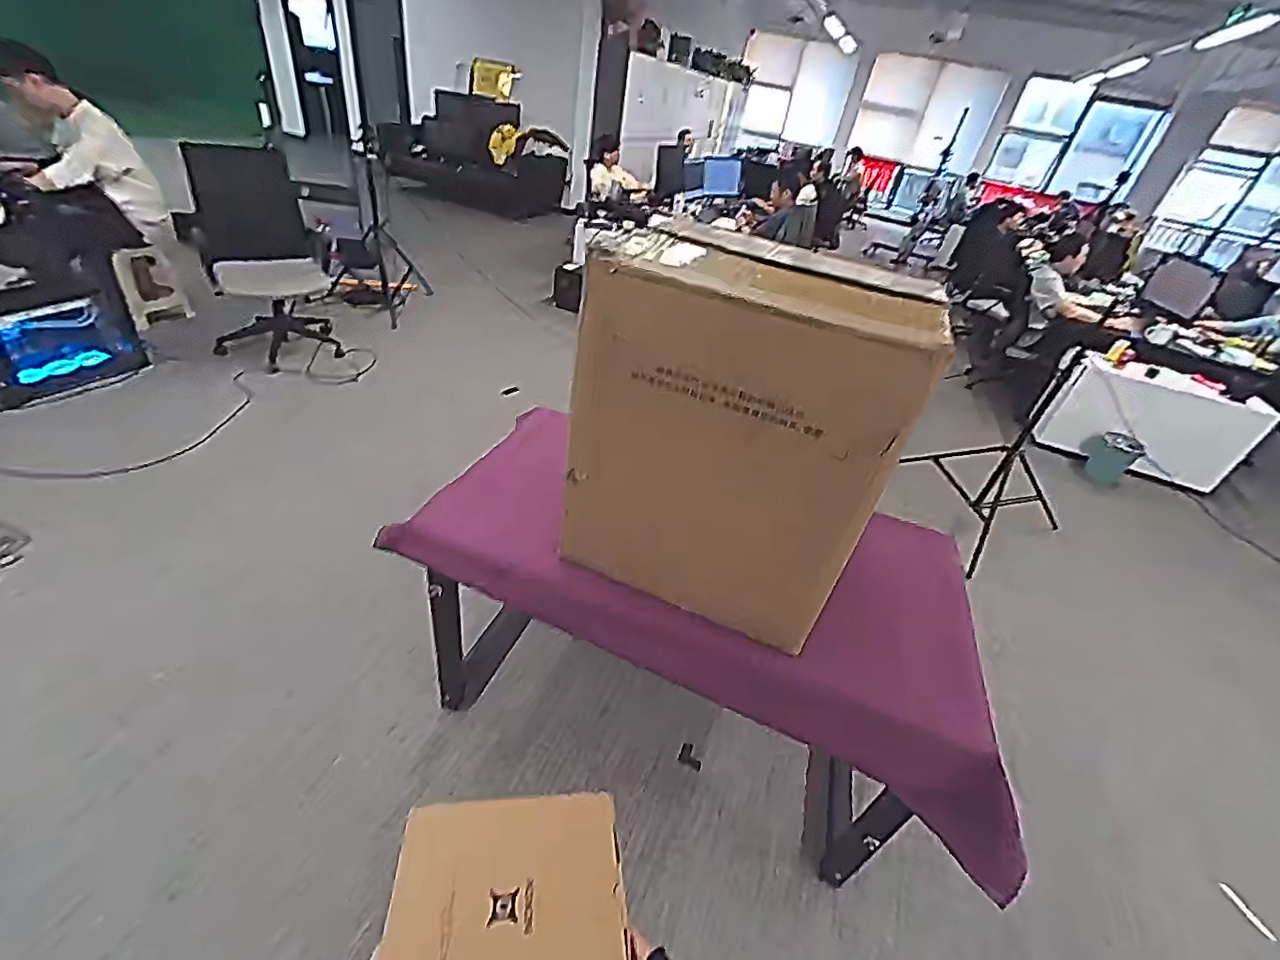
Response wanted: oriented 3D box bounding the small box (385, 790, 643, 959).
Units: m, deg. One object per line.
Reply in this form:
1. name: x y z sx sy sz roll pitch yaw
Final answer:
1. small box: -0.099 0.384 0.432 0.179 0.176 0.168 1 25 -11
